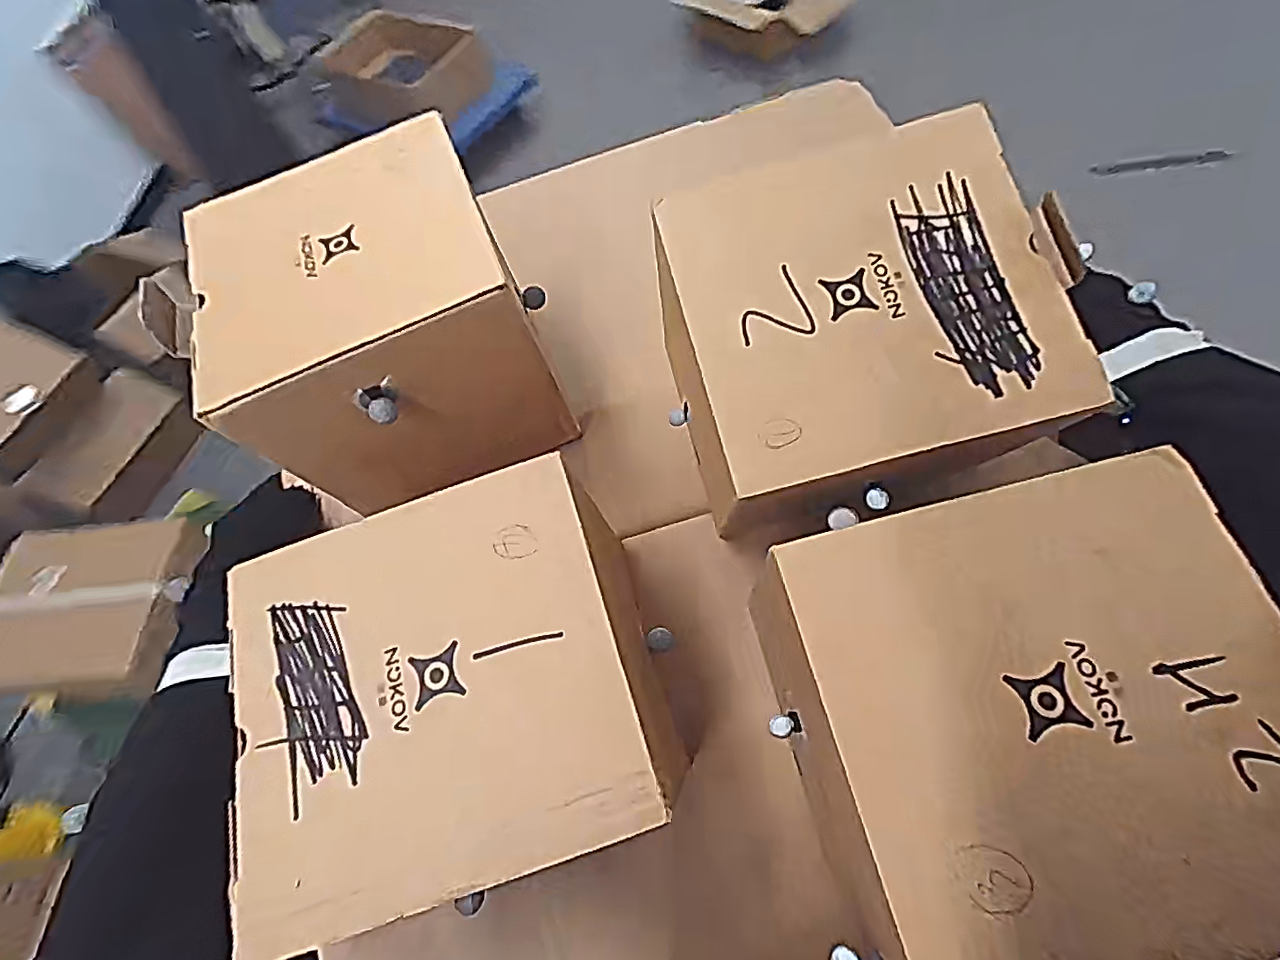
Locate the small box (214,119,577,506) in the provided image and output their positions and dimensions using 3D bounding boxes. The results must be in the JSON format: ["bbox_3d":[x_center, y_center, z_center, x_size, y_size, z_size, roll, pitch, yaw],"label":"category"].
[{"bbox_3d":[-0.157,-0.105,0.393,0.179,0.176,0.168,-23,65,0],"label":"small box"}]
